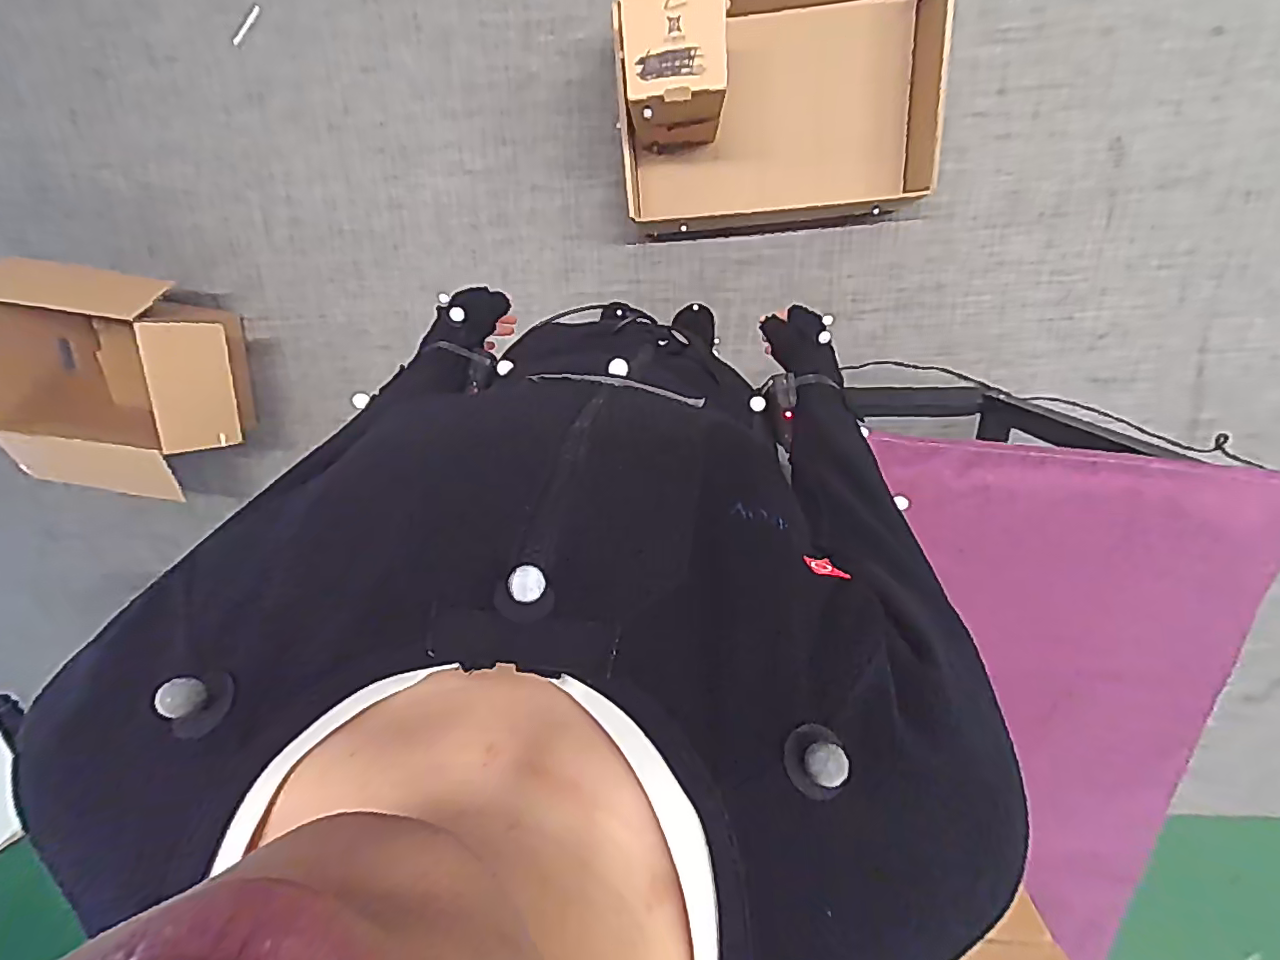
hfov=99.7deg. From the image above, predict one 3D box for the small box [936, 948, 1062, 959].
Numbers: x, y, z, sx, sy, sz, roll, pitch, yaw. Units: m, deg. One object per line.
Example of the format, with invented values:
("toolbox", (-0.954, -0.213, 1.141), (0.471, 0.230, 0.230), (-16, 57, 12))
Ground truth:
("small box", (0.499, 0.753, 0.700), (0.179, 0.176, 0.168), (1, 108, 4))
